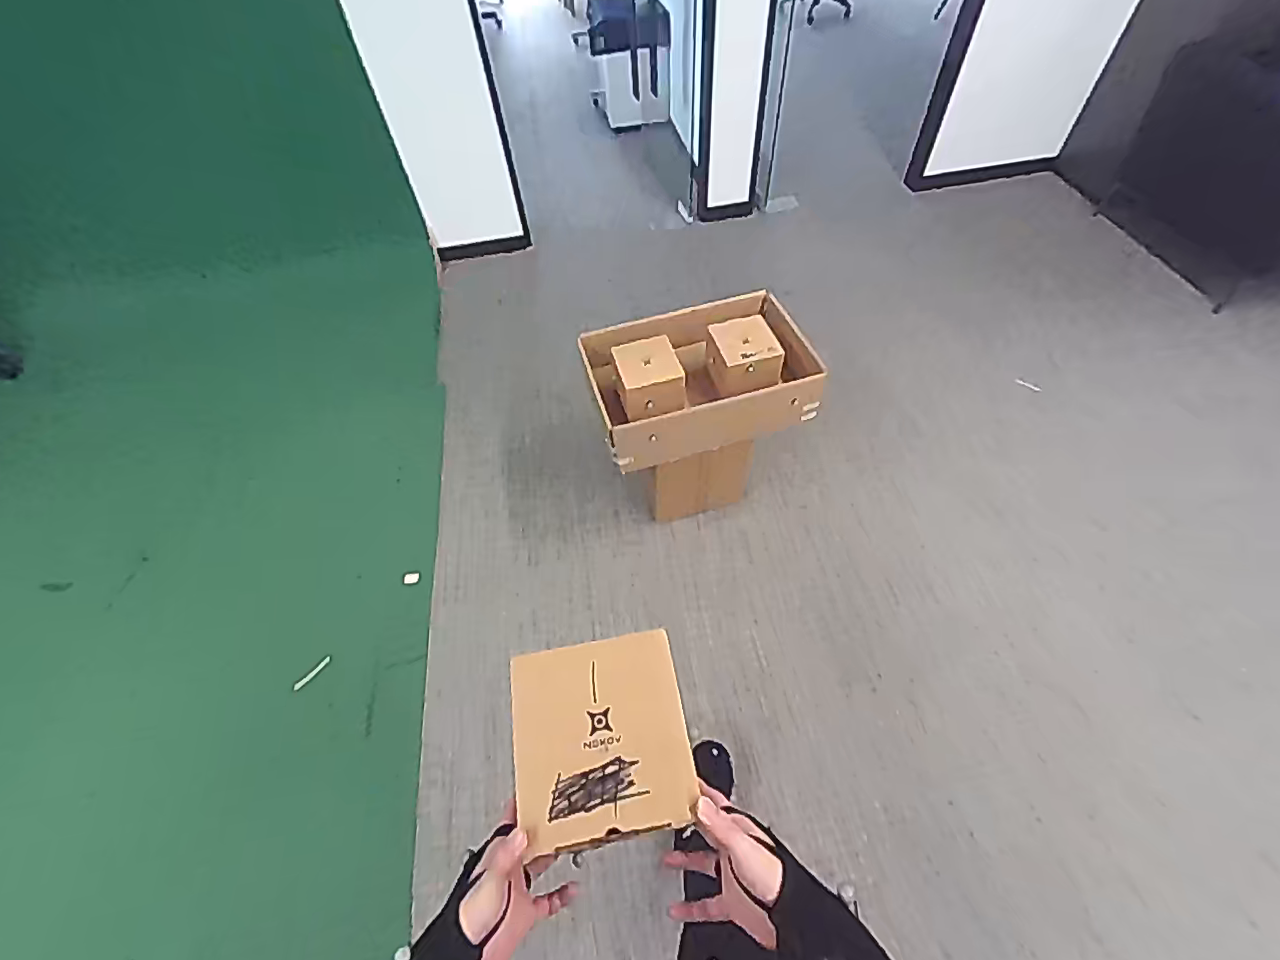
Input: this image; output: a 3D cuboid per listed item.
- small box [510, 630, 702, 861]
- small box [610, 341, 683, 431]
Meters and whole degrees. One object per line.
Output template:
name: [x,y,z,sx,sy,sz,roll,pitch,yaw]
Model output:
small box: [-0.035,0.281,0.569,0.168,0.176,0.179,-9,54,-4]
small box: [0.022,-0.256,1.522,0.168,0.176,0.179,-15,54,-7]
